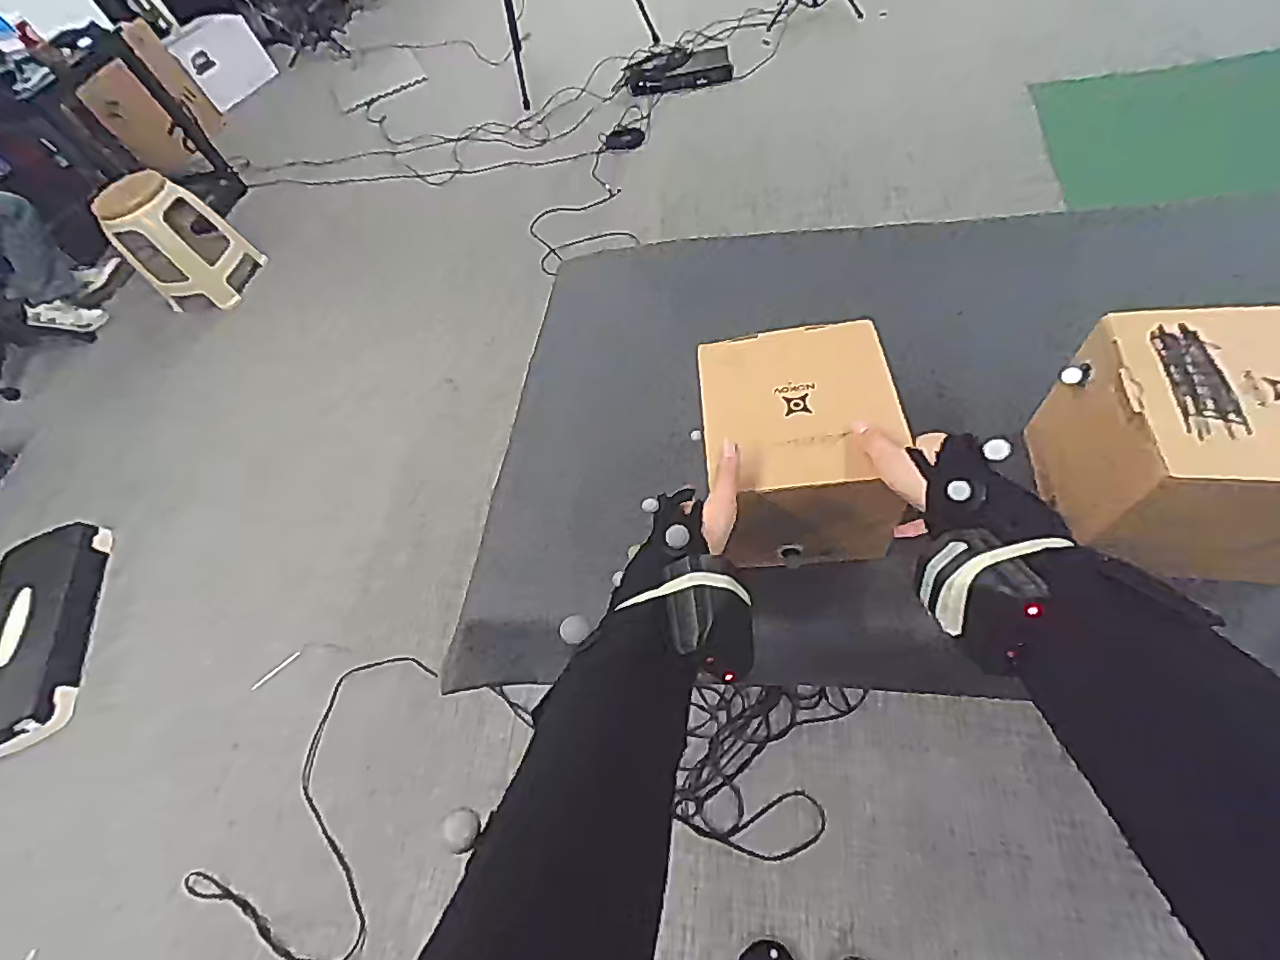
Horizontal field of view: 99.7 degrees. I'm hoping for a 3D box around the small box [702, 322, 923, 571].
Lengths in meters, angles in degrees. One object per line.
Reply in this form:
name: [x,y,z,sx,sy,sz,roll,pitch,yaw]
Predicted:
small box: [0.155,-0.025,0.540,0.168,0.176,0.179,-7,58,10]
